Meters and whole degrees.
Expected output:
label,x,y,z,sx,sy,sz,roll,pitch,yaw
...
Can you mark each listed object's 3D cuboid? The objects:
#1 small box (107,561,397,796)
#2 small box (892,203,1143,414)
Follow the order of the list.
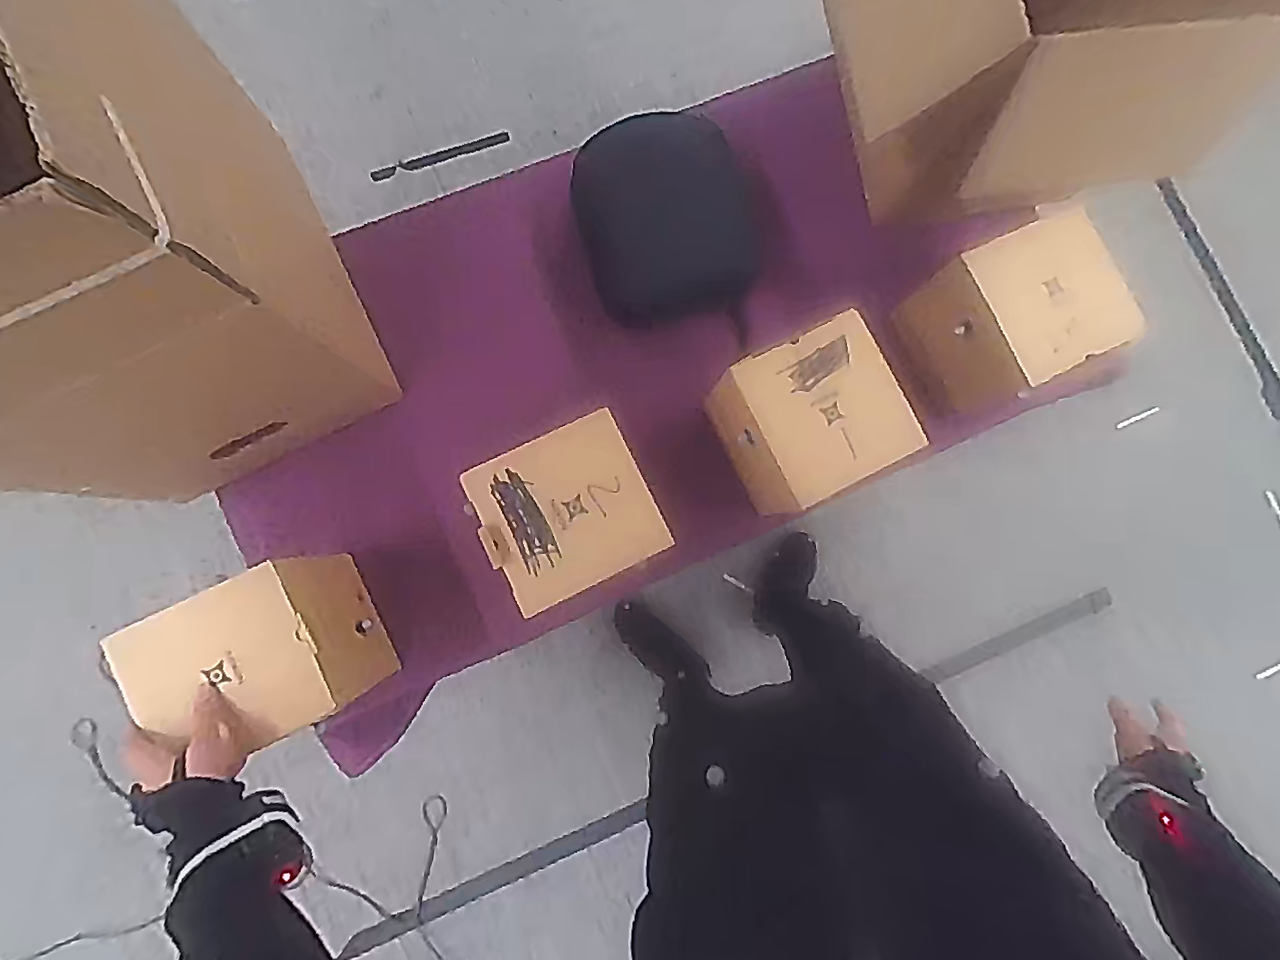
label,x,y,z,sx,sy,sz,roll,pitch,yaw
small box,-0.411,0.203,0.606,0.179,0.176,0.168,-27,86,-7
small box,0.466,-0.208,0.699,0.168,0.176,0.179,-25,86,-4
